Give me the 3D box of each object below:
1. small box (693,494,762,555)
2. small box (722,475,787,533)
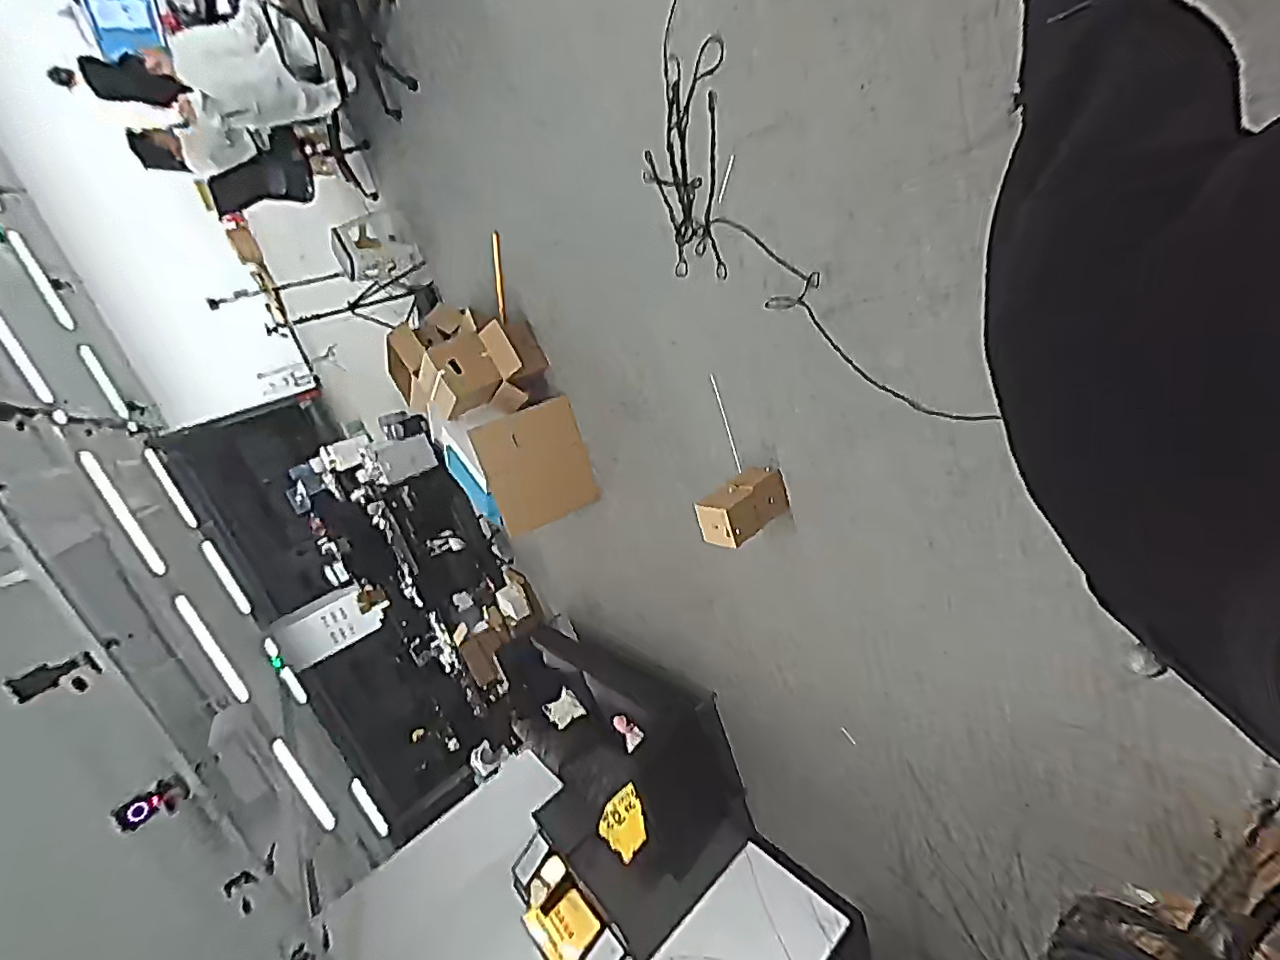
[{"bbox_3d":[0.340,0.164,2.082,0.179,0.176,0.168,8,121,54],"label":"small box"},{"bbox_3d":[0.460,0.090,2.165,0.168,0.176,0.179,5,120,54],"label":"small box"}]
